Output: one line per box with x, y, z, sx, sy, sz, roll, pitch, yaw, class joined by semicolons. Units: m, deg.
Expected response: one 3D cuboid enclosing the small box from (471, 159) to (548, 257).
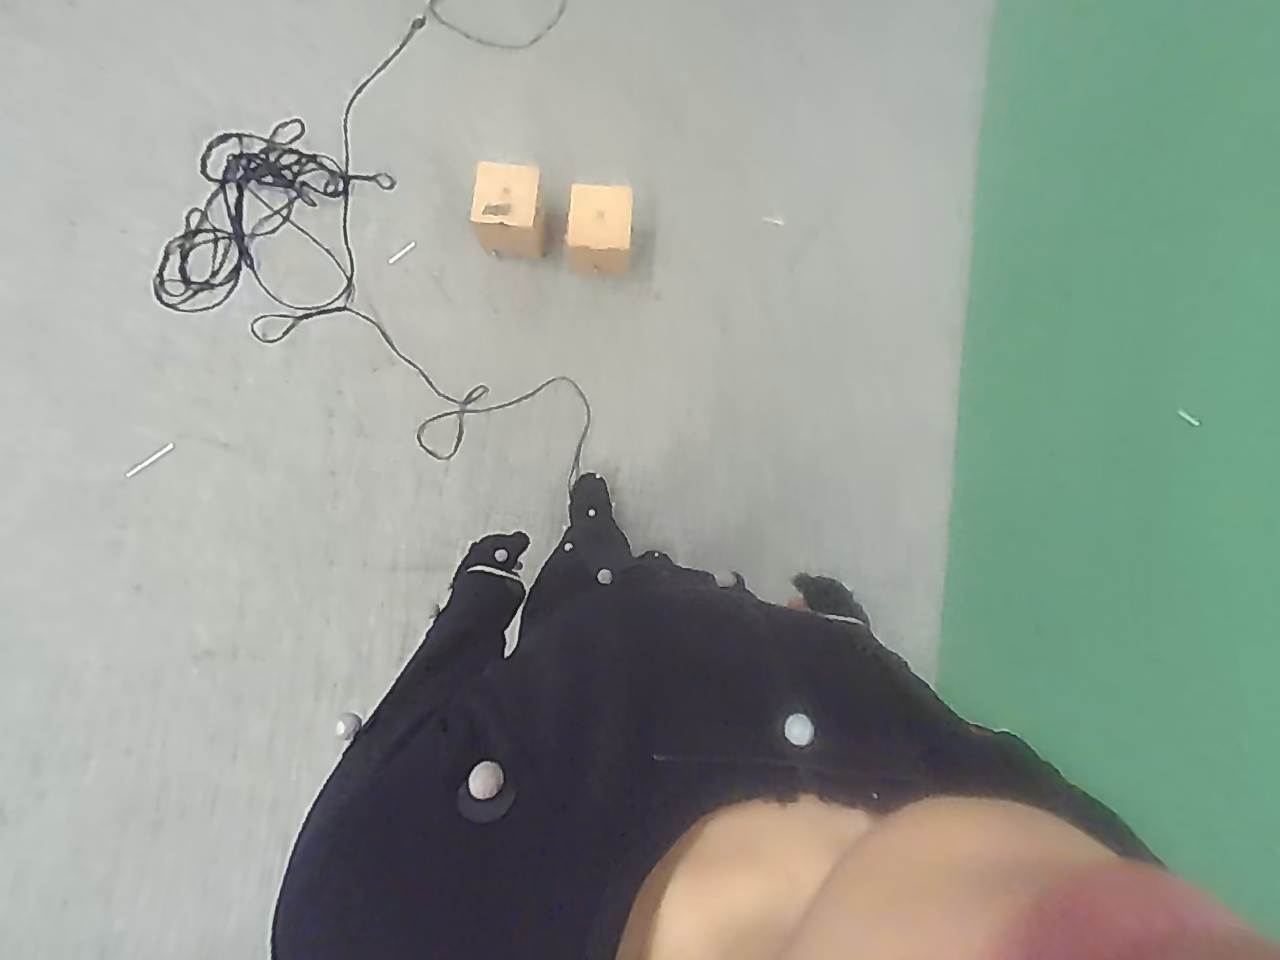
-0.353;-0.743;1.492;0.168;0.176;0.179;6;83;-2;small box

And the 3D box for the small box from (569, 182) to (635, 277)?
-0.104;-0.688;1.497;0.168;0.176;0.179;3;85;-2;small box
